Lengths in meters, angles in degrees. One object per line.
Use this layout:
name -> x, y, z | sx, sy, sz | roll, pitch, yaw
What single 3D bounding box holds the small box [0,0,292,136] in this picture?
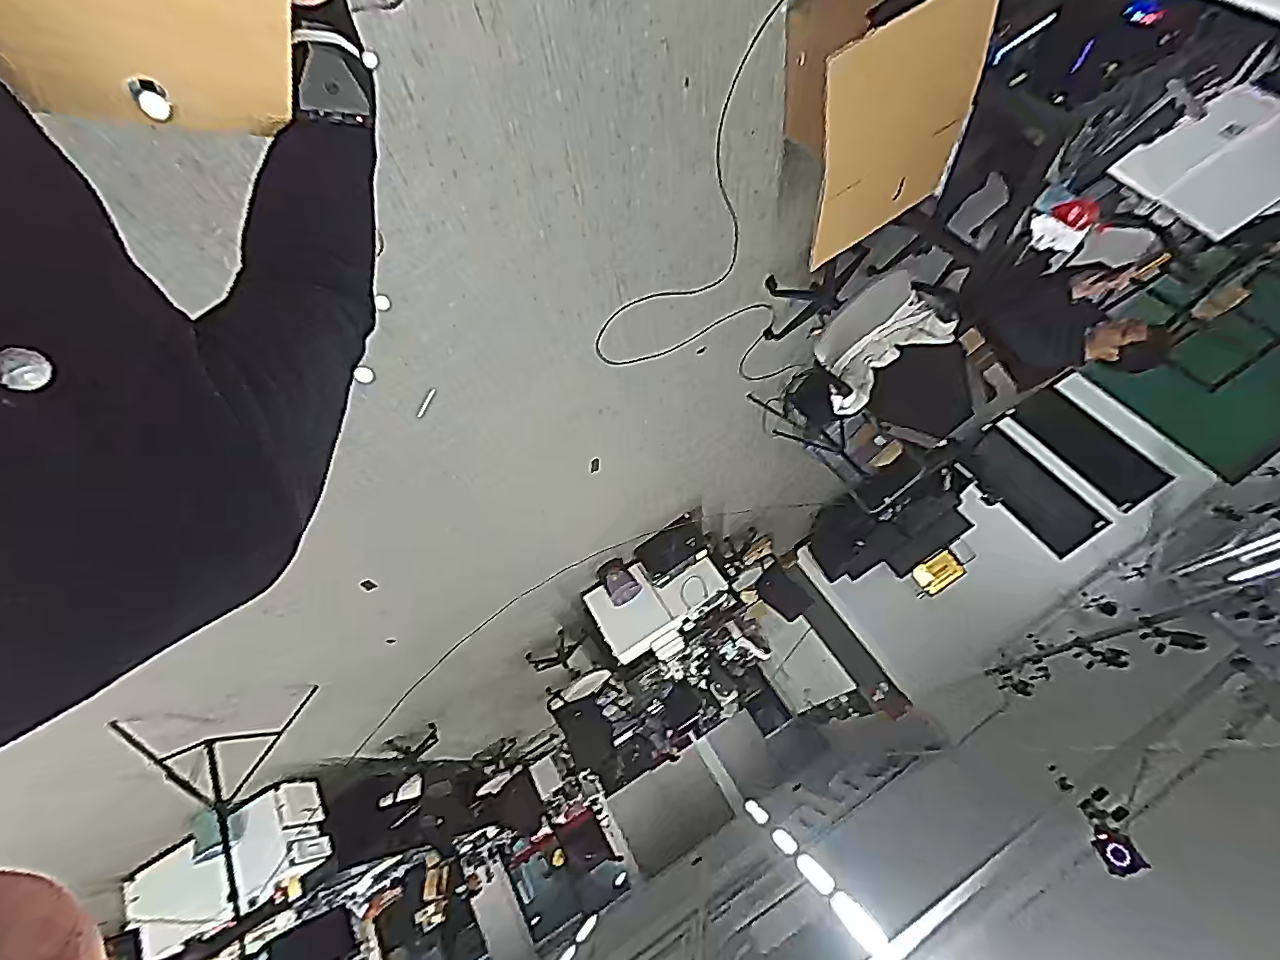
small box -> -0.346, -0.357, 0.350 | 0.179, 0.168, 0.176 | -15, -176, -32
